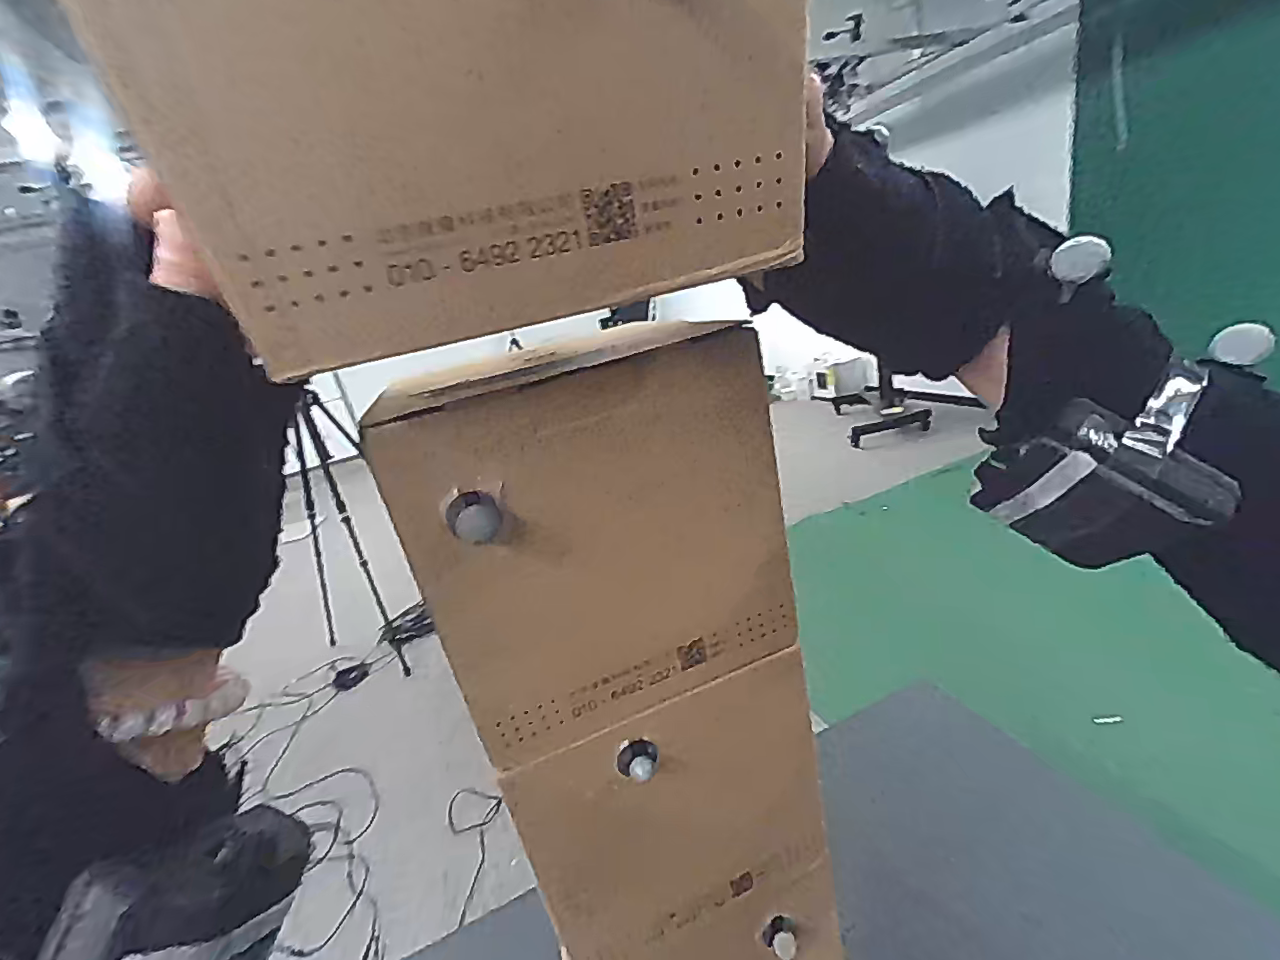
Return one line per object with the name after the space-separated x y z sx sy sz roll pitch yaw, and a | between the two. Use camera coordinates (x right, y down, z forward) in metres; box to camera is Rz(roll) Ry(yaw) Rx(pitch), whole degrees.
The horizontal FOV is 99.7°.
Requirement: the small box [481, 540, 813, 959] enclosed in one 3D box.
-0.003 0.168 0.376 0.168 0.176 0.179 -18 20 -13 | small box

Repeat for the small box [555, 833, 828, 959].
0.030 0.319 0.429 0.179 0.176 0.168 -19 20 -15 | small box

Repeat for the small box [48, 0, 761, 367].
-0.064 -0.153 0.194 0.168 0.176 0.179 -15 35 -7 | small box
